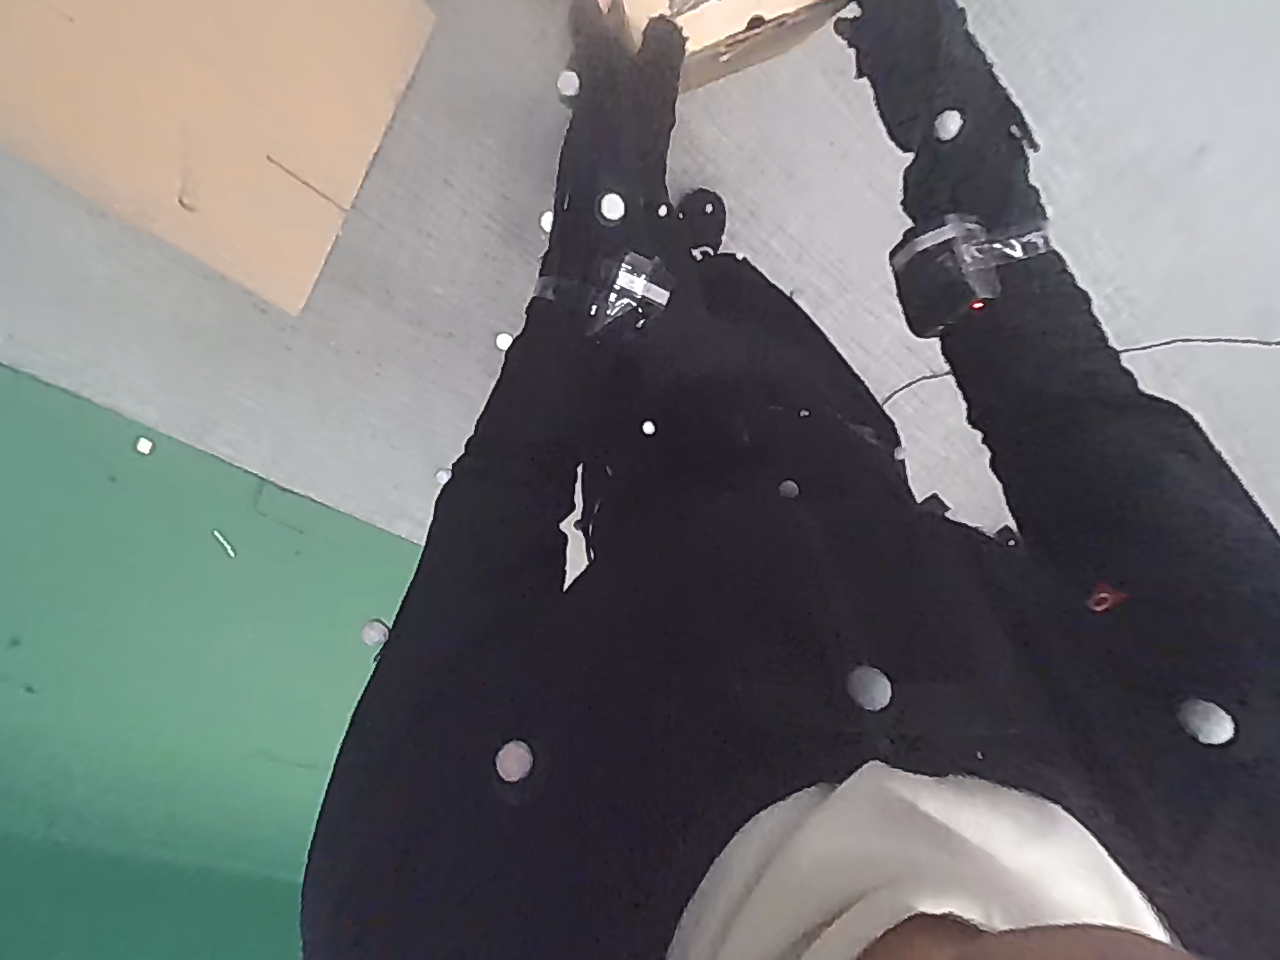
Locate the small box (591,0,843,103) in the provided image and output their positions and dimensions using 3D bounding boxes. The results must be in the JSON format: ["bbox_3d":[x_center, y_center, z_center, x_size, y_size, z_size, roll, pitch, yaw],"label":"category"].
[{"bbox_3d":[0.041,-0.412,0.404,0.168,0.176,0.179,-19,114,4],"label":"small box"}]
